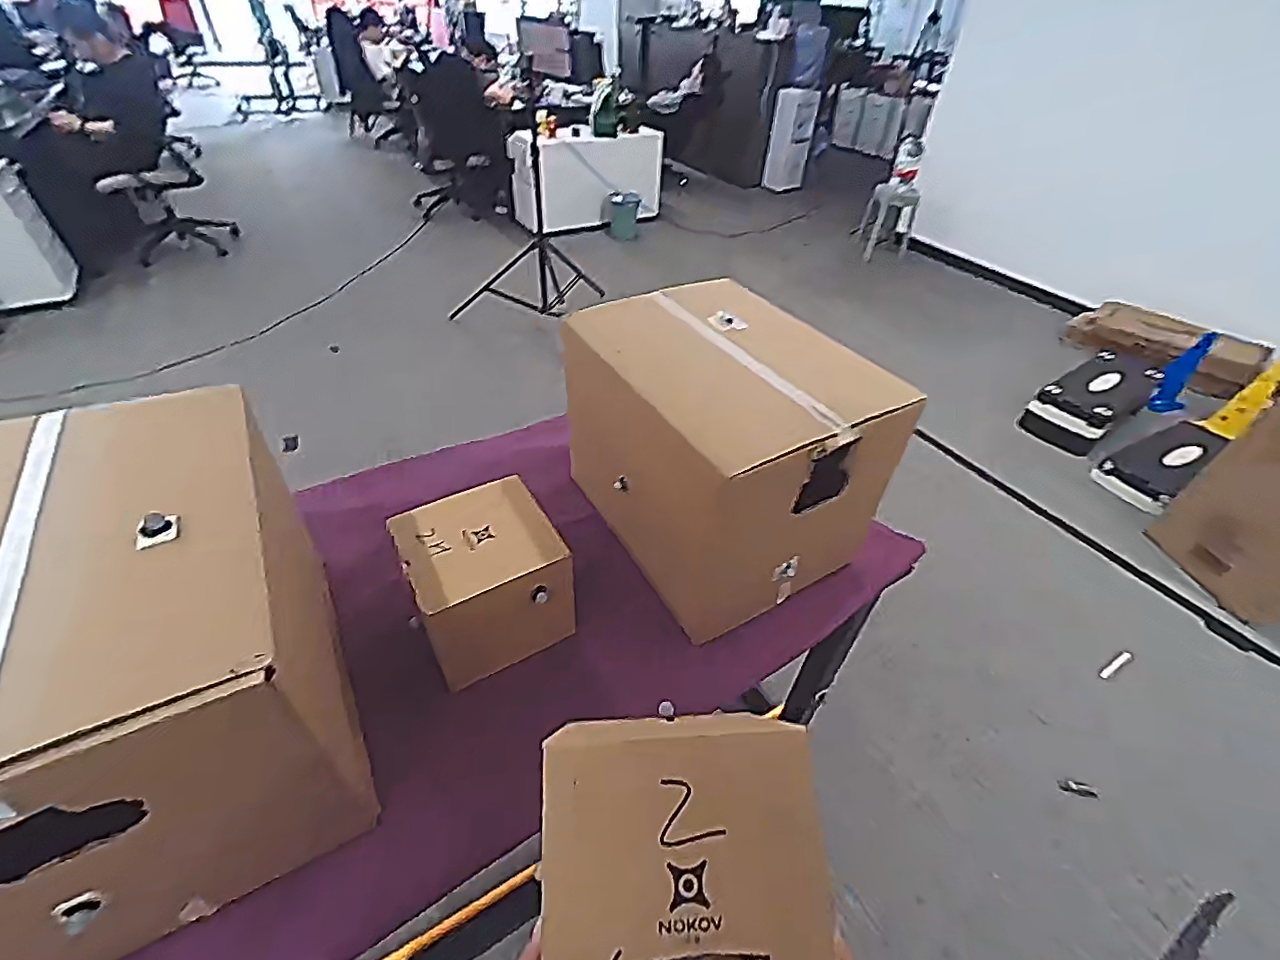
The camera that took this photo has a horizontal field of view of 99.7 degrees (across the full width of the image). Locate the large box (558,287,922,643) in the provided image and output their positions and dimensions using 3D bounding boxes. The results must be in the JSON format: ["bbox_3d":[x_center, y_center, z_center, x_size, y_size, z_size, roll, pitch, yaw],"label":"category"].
[{"bbox_3d":[0.112,-0.047,0.815,0.320,0.320,0.408,-21,46,-24],"label":"large box"}]
